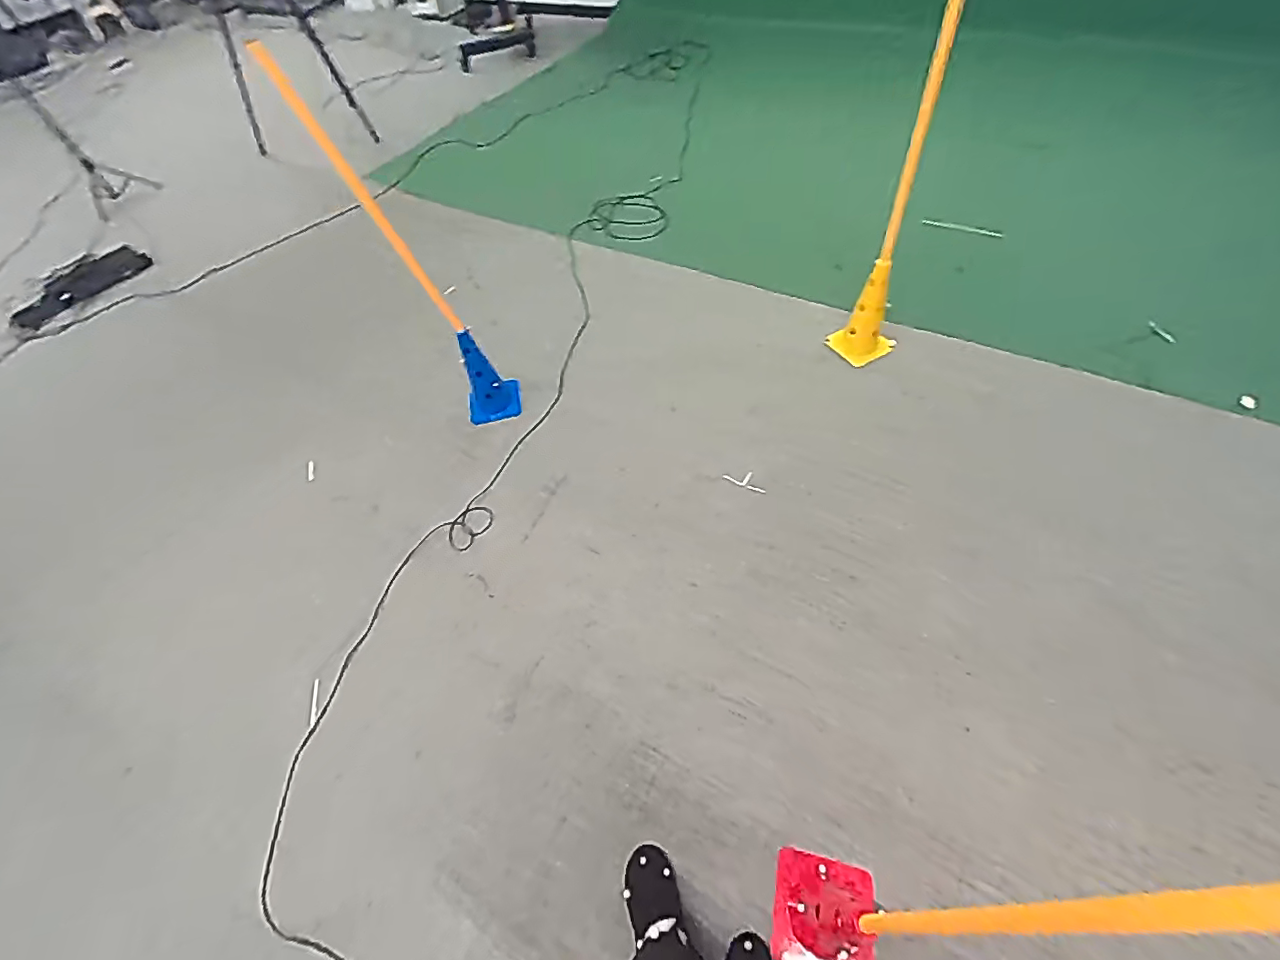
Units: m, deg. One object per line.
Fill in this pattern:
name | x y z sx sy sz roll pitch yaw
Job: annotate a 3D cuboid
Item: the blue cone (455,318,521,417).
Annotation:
blue cone | -0.577 -0.418 1.954 0.193 0.380 0.192 -15 55 -2
